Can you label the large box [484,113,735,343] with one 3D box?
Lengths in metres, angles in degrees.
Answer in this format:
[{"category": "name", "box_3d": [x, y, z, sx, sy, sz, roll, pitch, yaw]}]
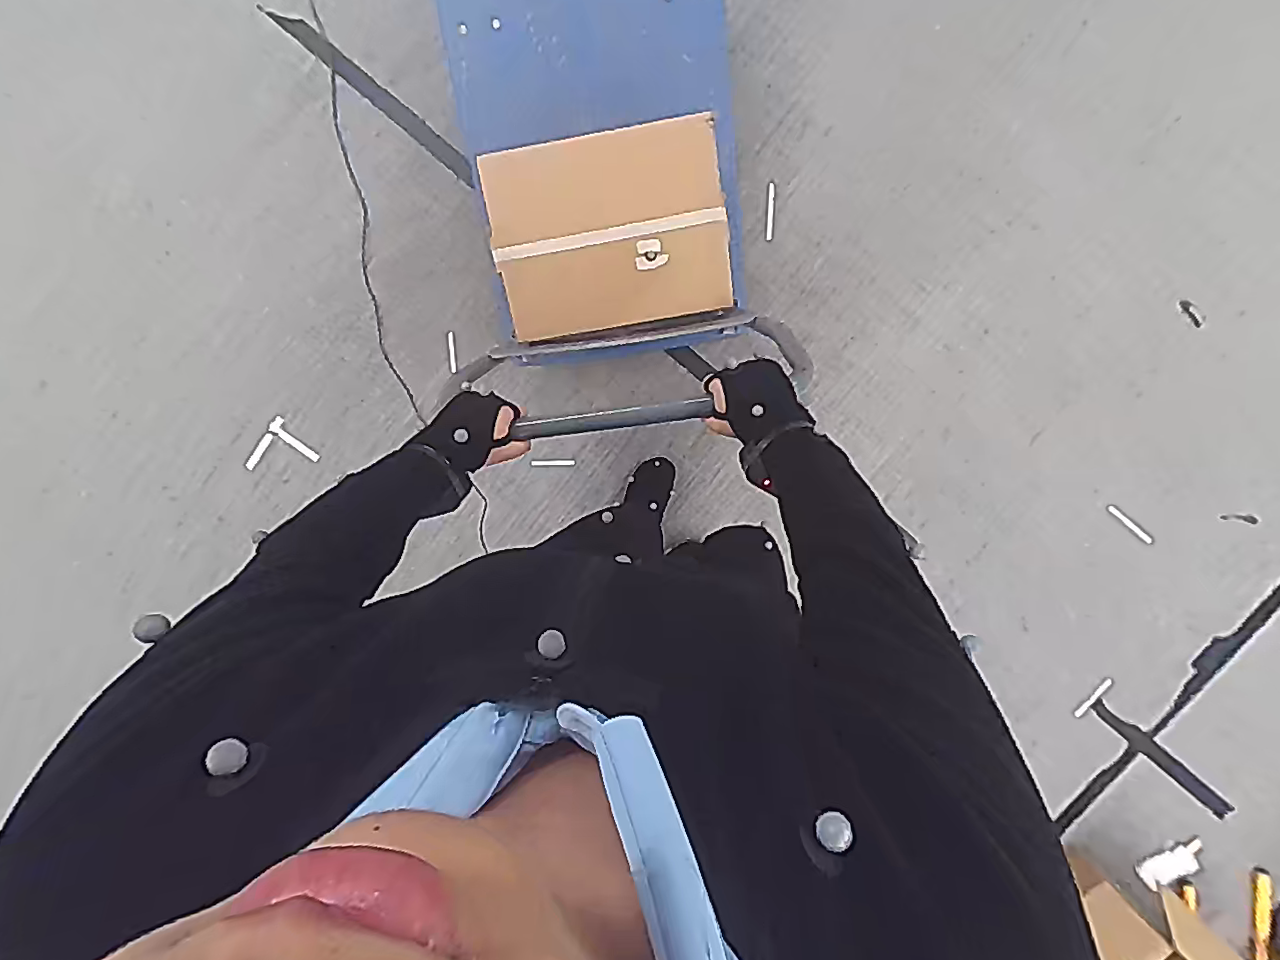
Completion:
[{"category": "large box", "box_3d": [-0.049, -0.479, 1.102, 0.408, 0.320, 0.320, -10, 108, 3]}]
